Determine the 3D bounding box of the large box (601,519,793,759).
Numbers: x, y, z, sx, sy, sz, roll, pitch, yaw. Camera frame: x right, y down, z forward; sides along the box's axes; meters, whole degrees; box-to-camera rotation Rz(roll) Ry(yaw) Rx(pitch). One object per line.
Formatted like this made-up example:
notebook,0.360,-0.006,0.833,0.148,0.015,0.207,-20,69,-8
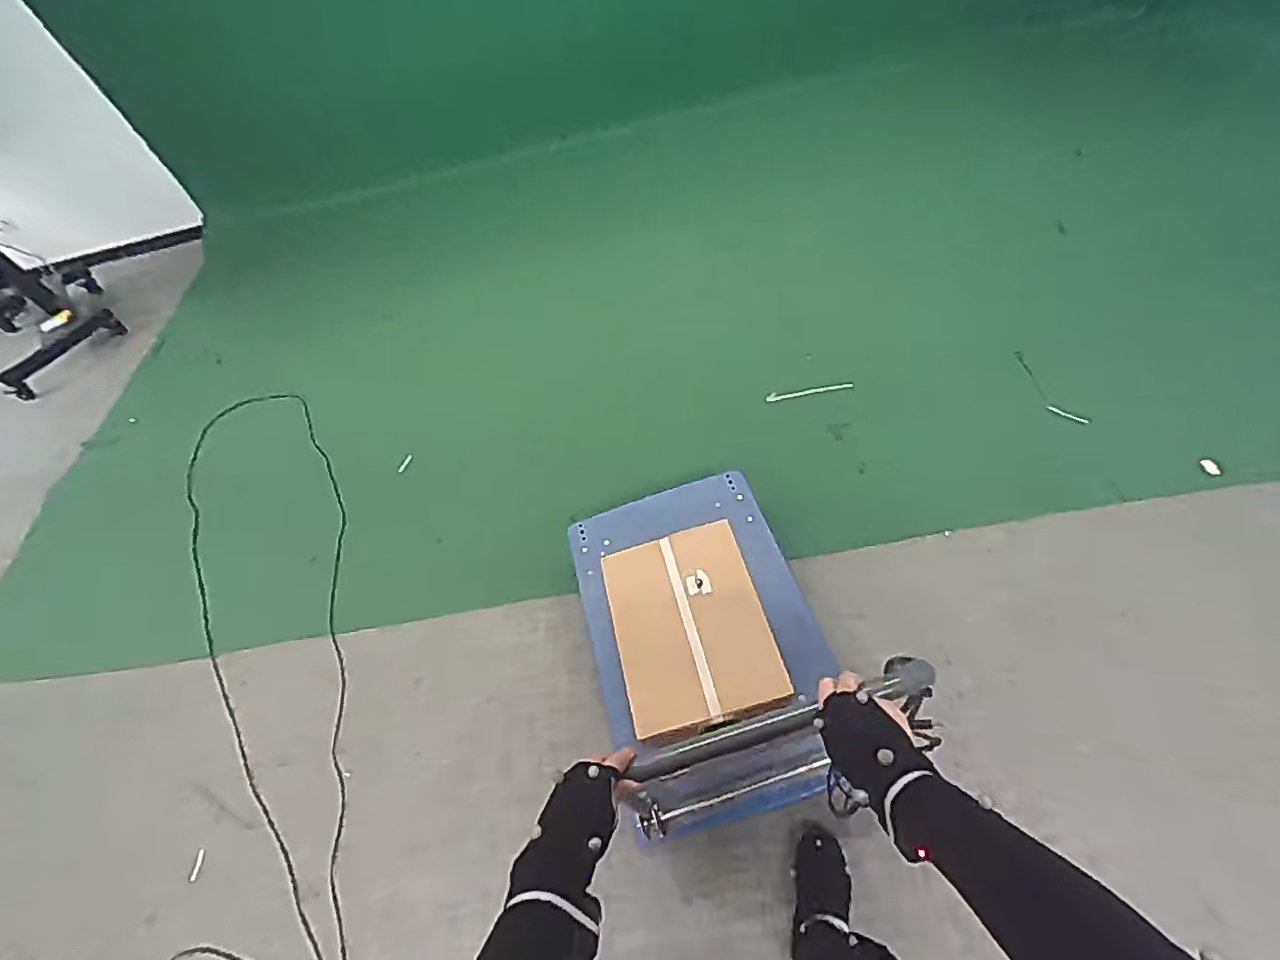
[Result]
large box,0.129,0.369,1.247,0.320,0.320,0.408,-16,53,1
